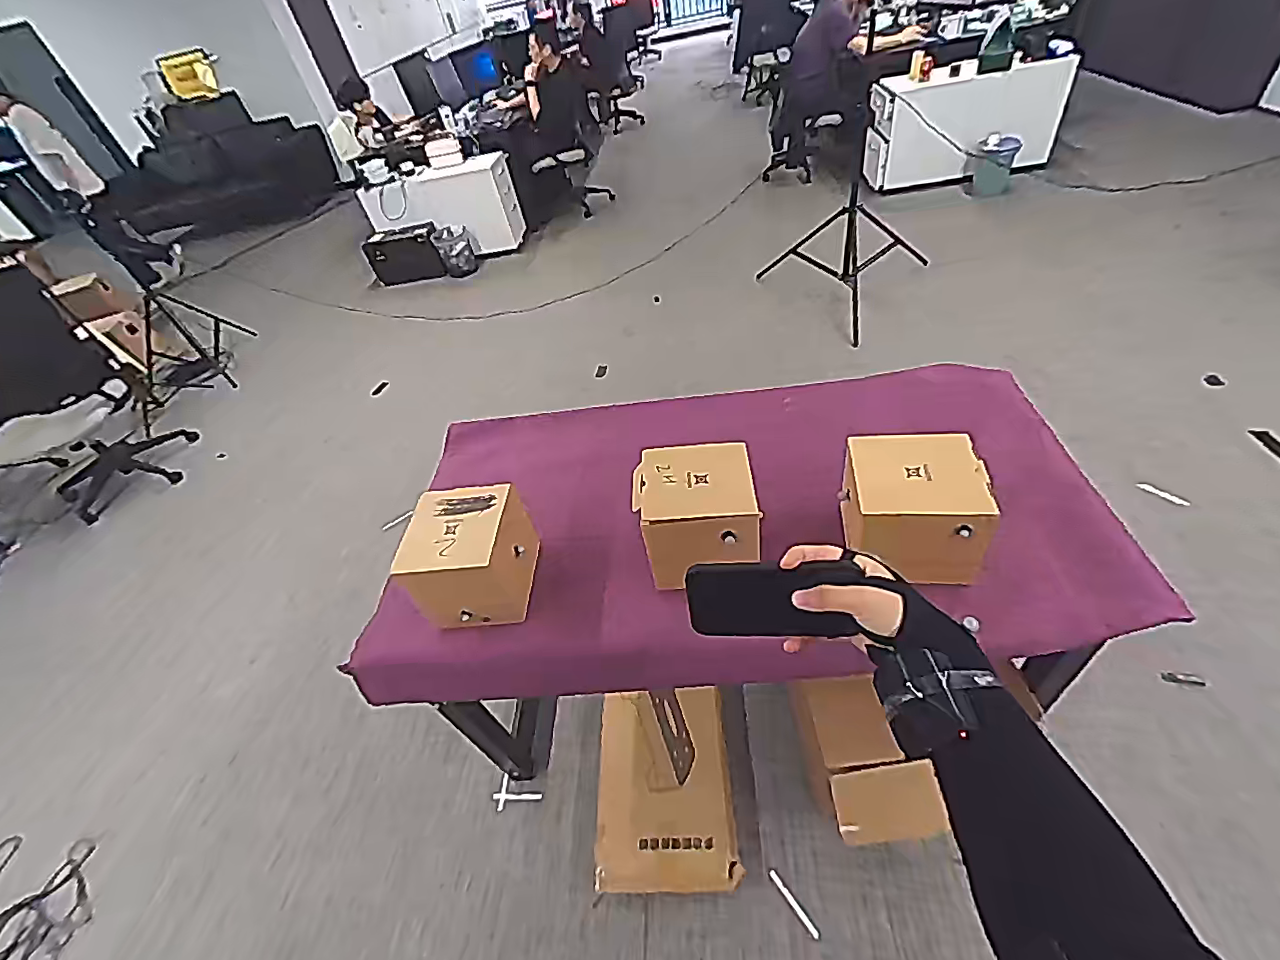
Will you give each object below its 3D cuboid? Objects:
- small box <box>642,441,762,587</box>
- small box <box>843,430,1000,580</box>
[{"bbox_3d":[0.103,0.059,0.895,0.179,0.176,0.168,-7,42,7],"label":"small box"},{"bbox_3d":[0.416,0.041,0.838,0.179,0.176,0.168,-1,45,12],"label":"small box"}]
